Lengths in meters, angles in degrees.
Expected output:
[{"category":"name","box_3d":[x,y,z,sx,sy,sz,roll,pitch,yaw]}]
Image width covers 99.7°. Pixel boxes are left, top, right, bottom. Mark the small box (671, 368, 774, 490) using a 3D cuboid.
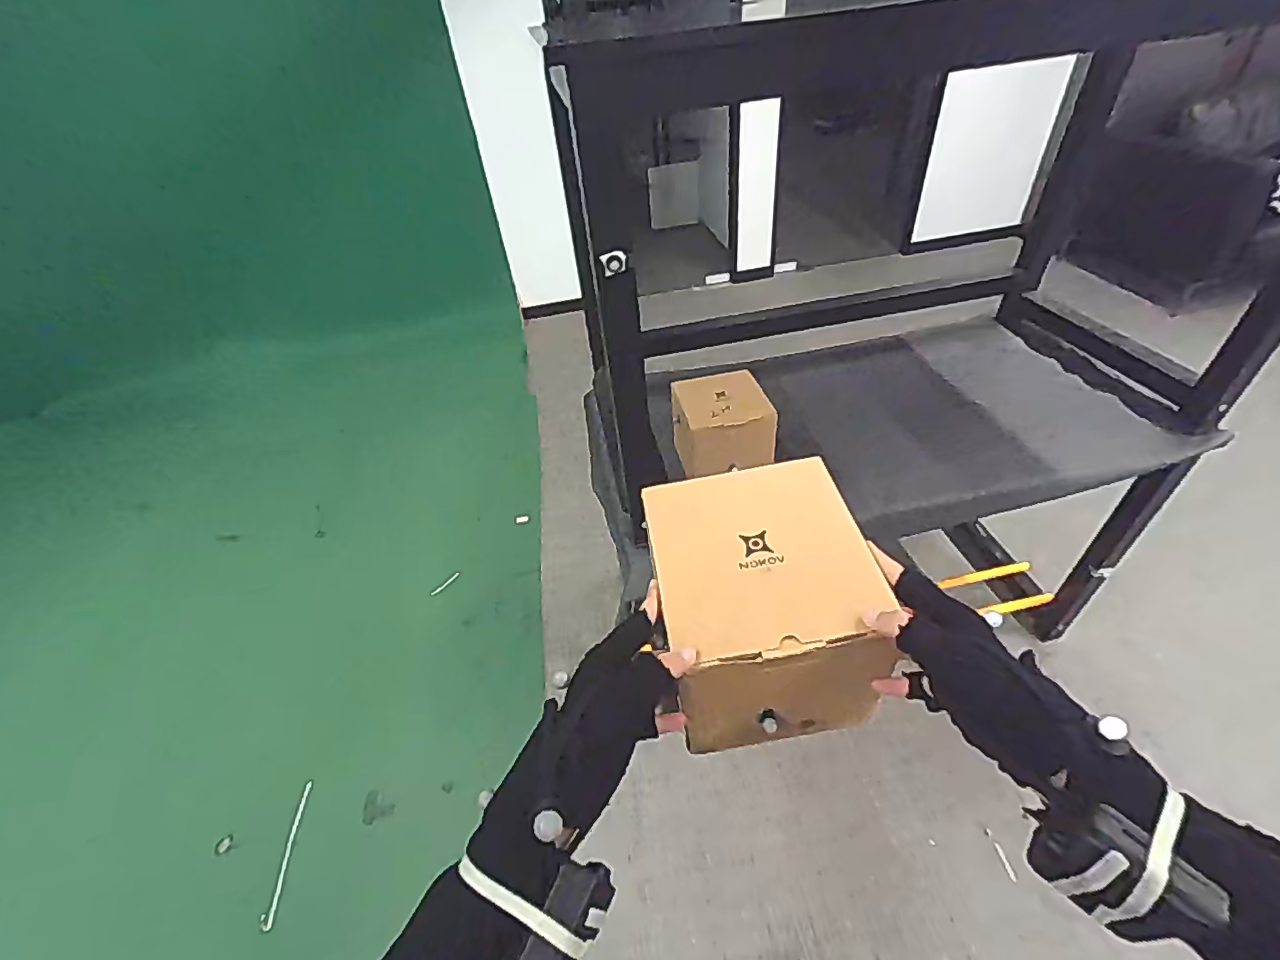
[{"category":"small box","box_3d":[0.162,-0.105,1.107,0.168,0.176,0.179,-11,41,-3]}]
